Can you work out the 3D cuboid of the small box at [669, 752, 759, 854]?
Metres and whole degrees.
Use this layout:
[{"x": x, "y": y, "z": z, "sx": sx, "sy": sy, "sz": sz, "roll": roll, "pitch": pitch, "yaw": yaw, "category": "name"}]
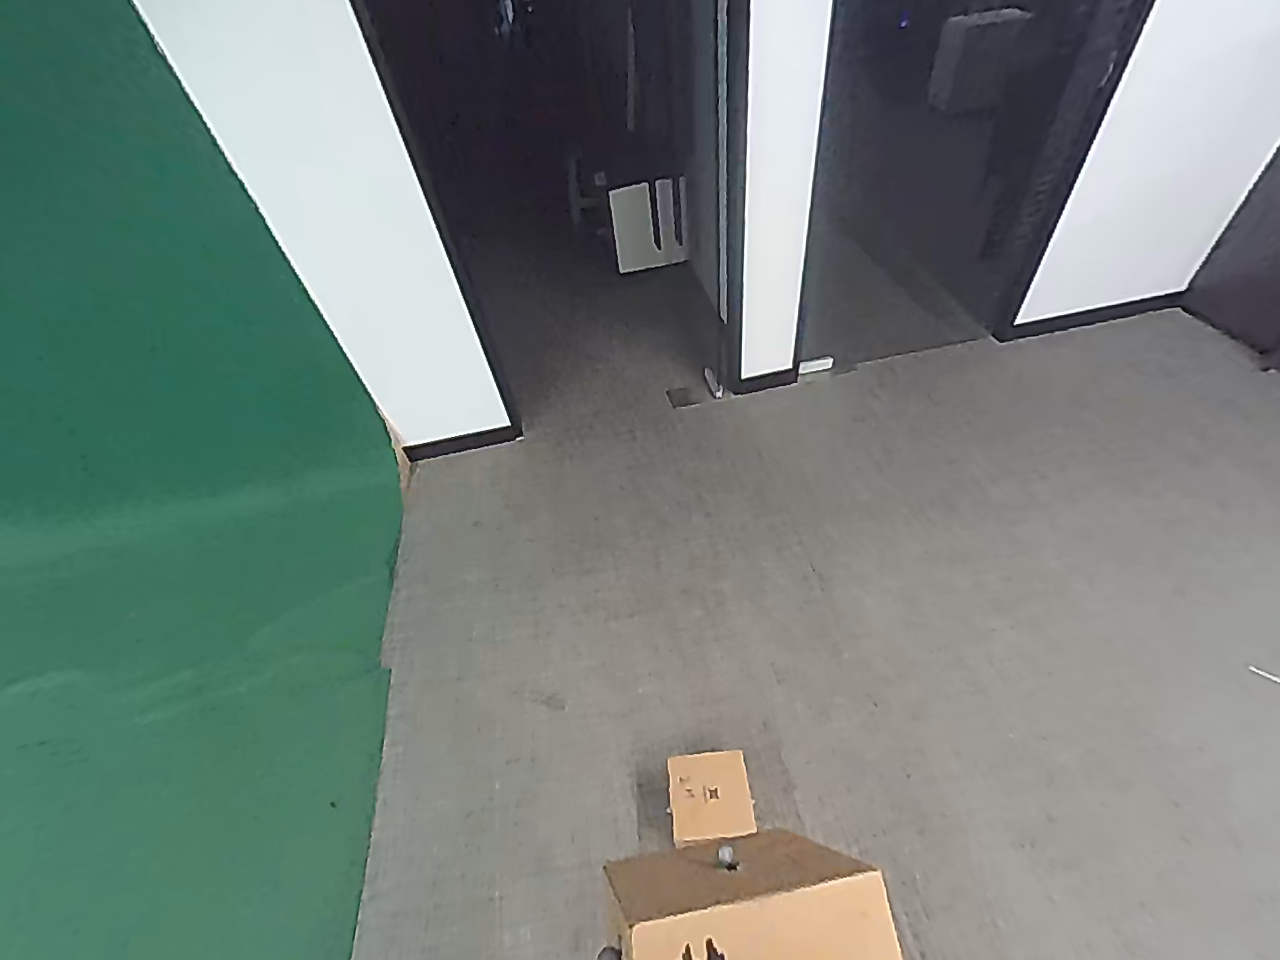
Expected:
[{"x": 0.164, "y": 0.736, "z": 1.231, "sx": 0.179, "sy": 0.176, "sz": 0.168, "roll": -7, "pitch": 47, "yaw": 2, "category": "small box"}]
